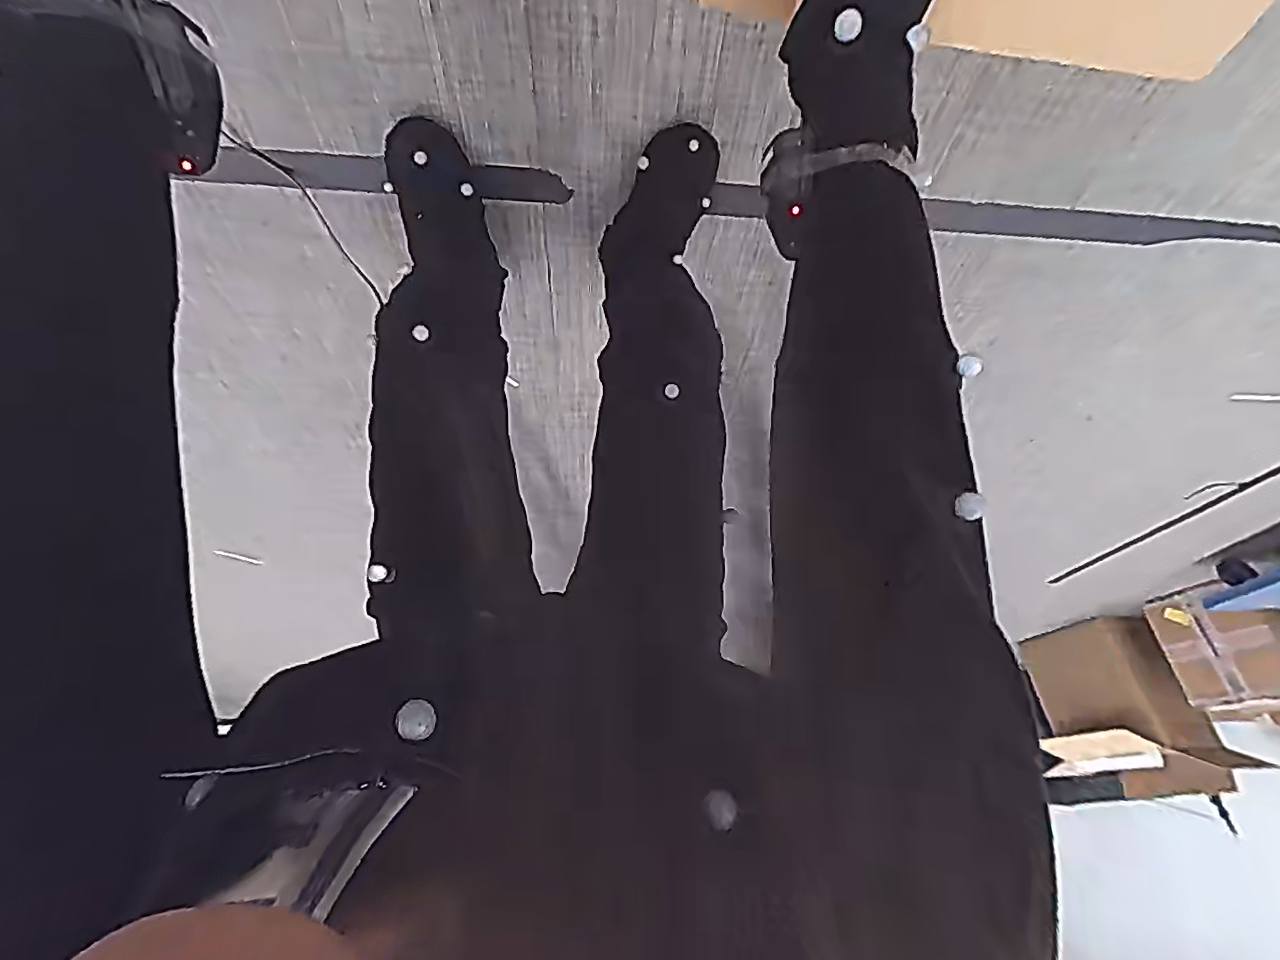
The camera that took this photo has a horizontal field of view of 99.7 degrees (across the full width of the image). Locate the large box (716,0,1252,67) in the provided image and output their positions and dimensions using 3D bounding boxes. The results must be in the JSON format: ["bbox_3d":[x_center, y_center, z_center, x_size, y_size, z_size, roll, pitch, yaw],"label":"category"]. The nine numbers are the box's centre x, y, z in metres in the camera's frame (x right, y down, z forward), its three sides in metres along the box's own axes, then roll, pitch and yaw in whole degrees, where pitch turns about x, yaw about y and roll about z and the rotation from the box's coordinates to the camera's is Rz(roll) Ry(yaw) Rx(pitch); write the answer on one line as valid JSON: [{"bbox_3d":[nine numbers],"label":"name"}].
[{"bbox_3d":[0.253,-0.537,0.356,0.408,0.320,0.320,1,149,-8],"label":"large box"}]
